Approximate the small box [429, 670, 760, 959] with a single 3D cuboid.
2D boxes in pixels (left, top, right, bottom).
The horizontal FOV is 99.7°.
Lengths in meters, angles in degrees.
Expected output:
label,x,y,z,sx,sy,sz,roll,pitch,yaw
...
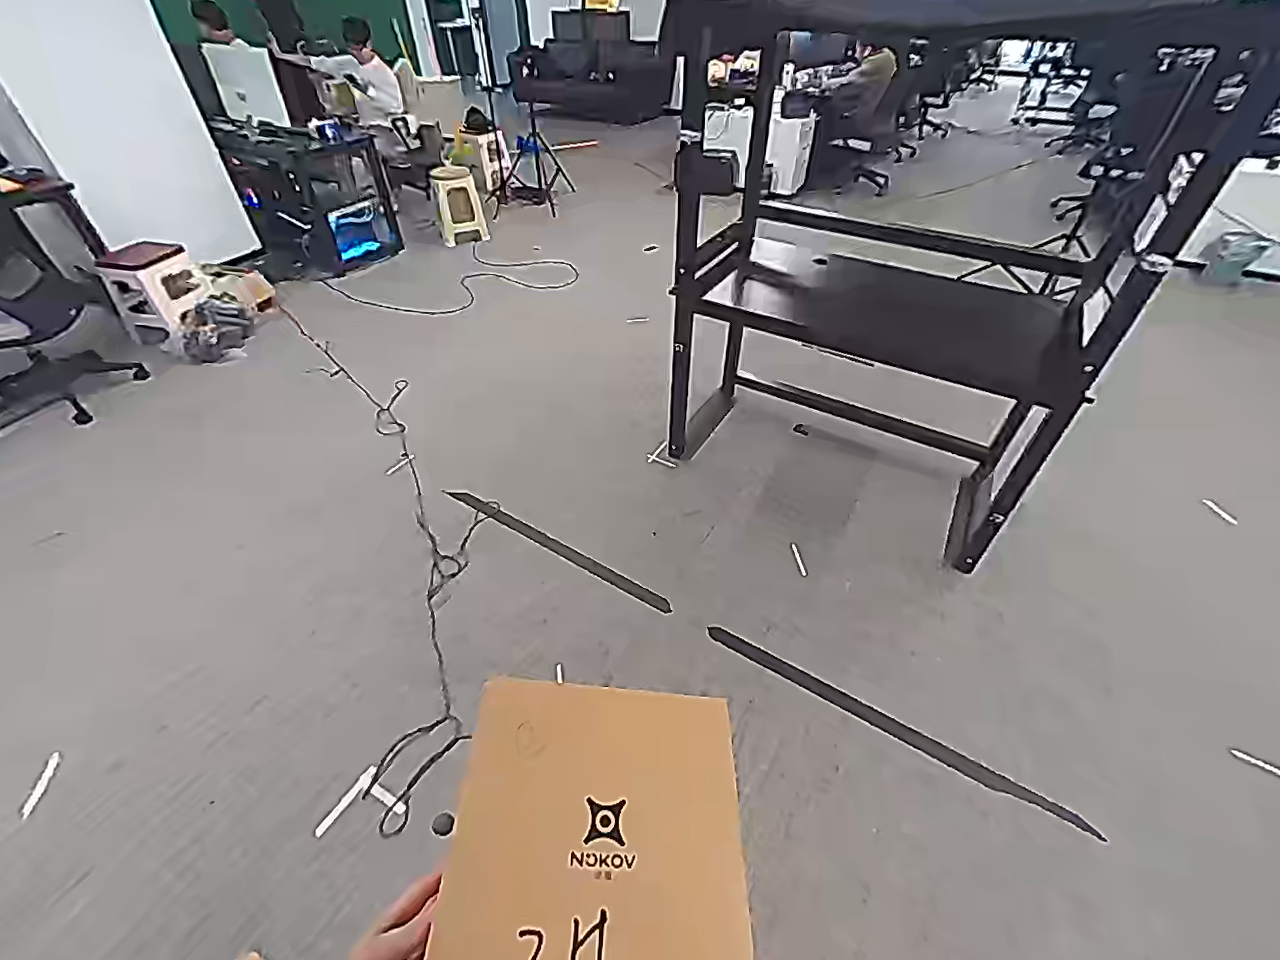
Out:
label,x,y,z,sx,sy,sz,roll,pitch,yaw
small box,-0.034,0.251,0.356,0.168,0.176,0.179,8,45,-8
